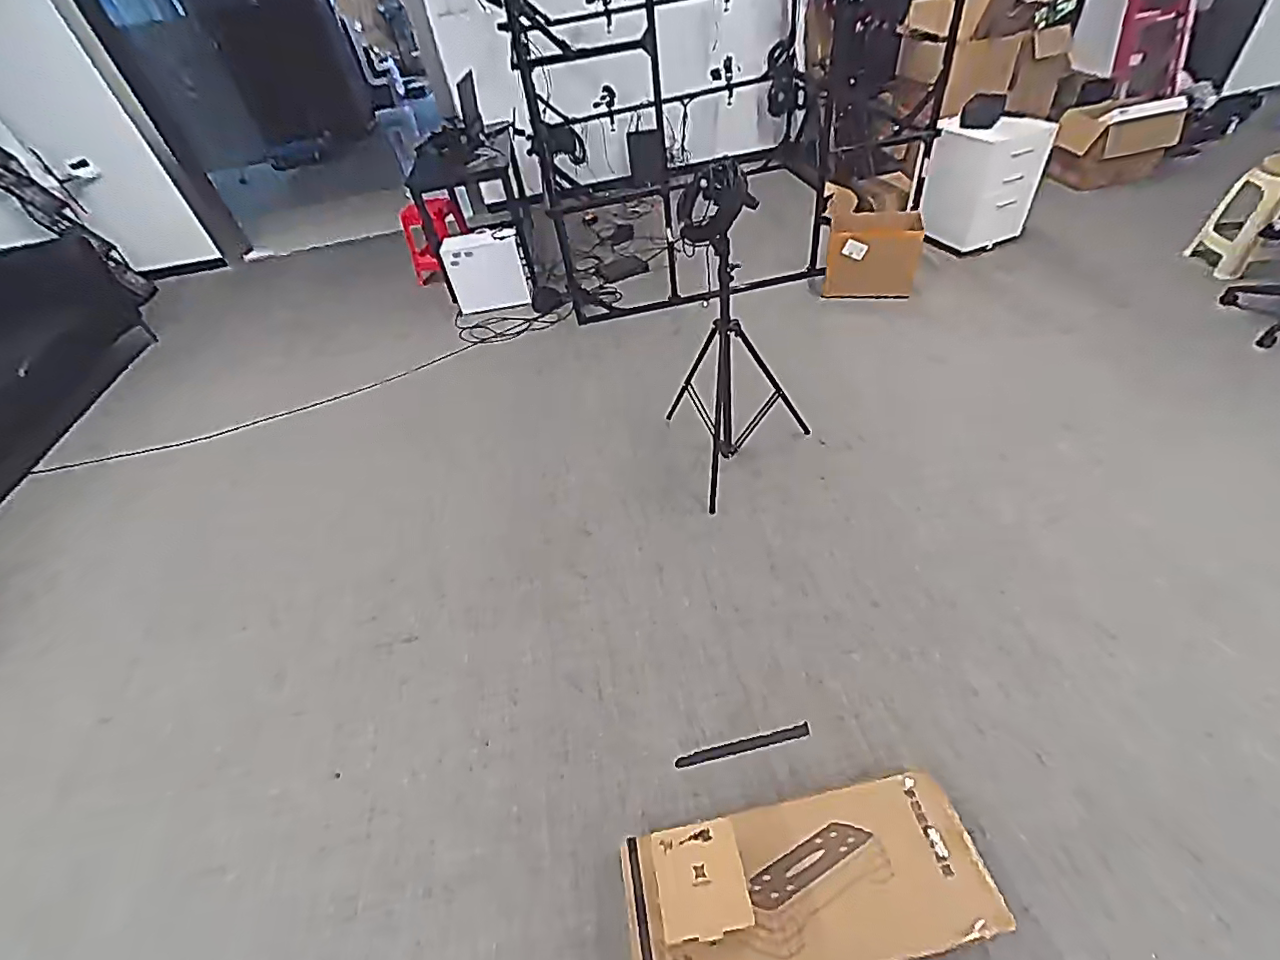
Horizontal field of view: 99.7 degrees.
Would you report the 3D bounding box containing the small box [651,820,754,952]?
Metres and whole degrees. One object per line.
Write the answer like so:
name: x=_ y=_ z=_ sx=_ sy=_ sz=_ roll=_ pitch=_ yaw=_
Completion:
small box: x=0.122 y=0.805 z=1.067 sx=0.168 sy=0.176 sz=0.179 roll=-10 pitch=44 yaw=-1
